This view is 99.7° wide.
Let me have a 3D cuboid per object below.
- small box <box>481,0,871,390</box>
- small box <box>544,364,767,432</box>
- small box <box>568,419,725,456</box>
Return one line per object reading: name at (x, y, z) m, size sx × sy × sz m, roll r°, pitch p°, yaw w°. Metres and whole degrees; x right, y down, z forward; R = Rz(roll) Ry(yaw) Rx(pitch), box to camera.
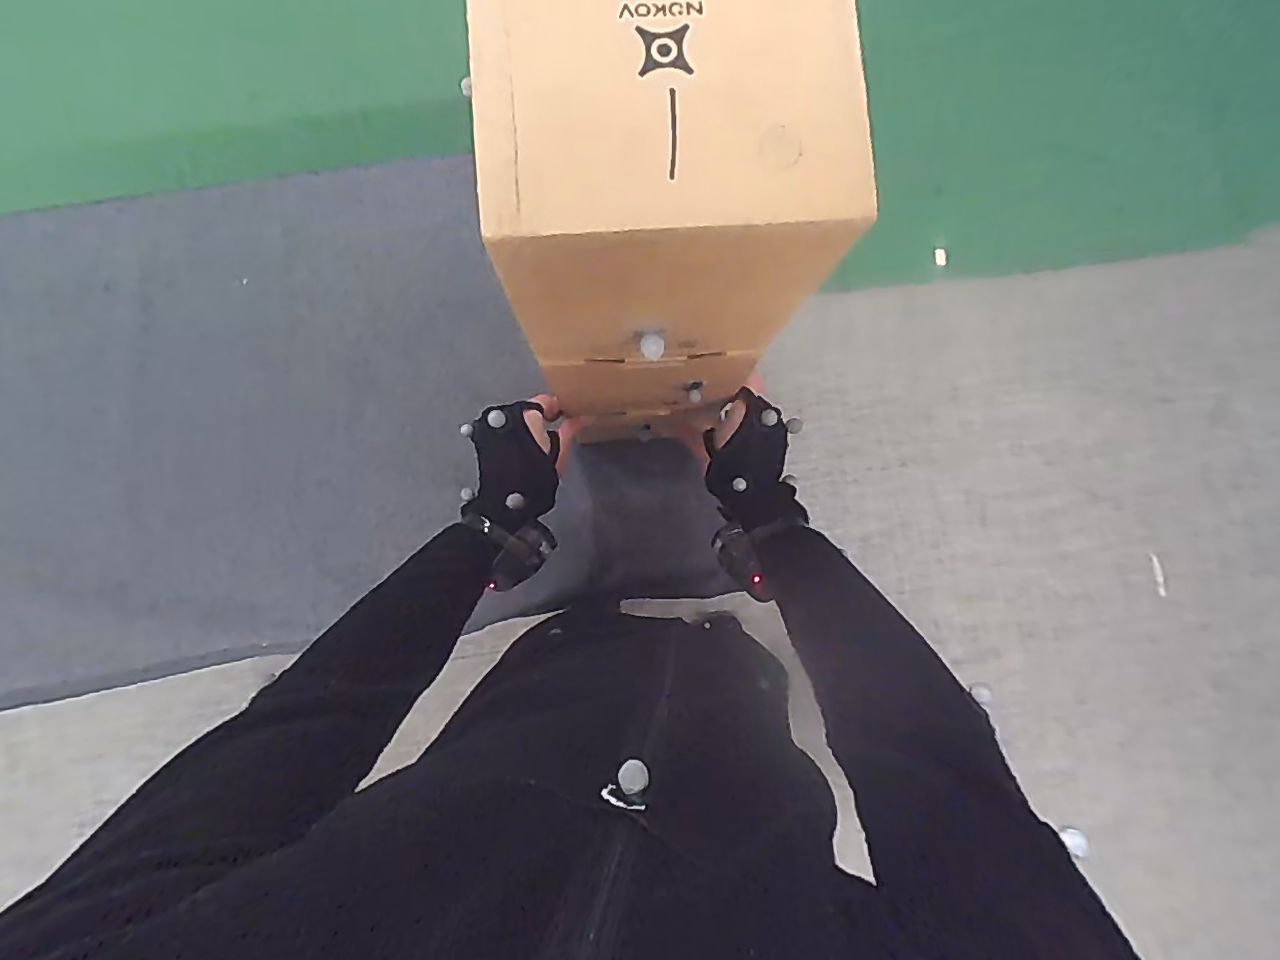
small box at (0.010, -0.163, 0.318) m, size 0.168 × 0.176 × 0.179 m, roll -5°, pitch 85°, yaw -2°
small box at (0.004, -0.143, 0.481) m, size 0.168 × 0.176 × 0.179 m, roll -5°, pitch 83°, yaw -3°
small box at (0.000, -0.125, 0.643) m, size 0.168 × 0.176 × 0.179 m, roll -5°, pitch 84°, yaw -2°
